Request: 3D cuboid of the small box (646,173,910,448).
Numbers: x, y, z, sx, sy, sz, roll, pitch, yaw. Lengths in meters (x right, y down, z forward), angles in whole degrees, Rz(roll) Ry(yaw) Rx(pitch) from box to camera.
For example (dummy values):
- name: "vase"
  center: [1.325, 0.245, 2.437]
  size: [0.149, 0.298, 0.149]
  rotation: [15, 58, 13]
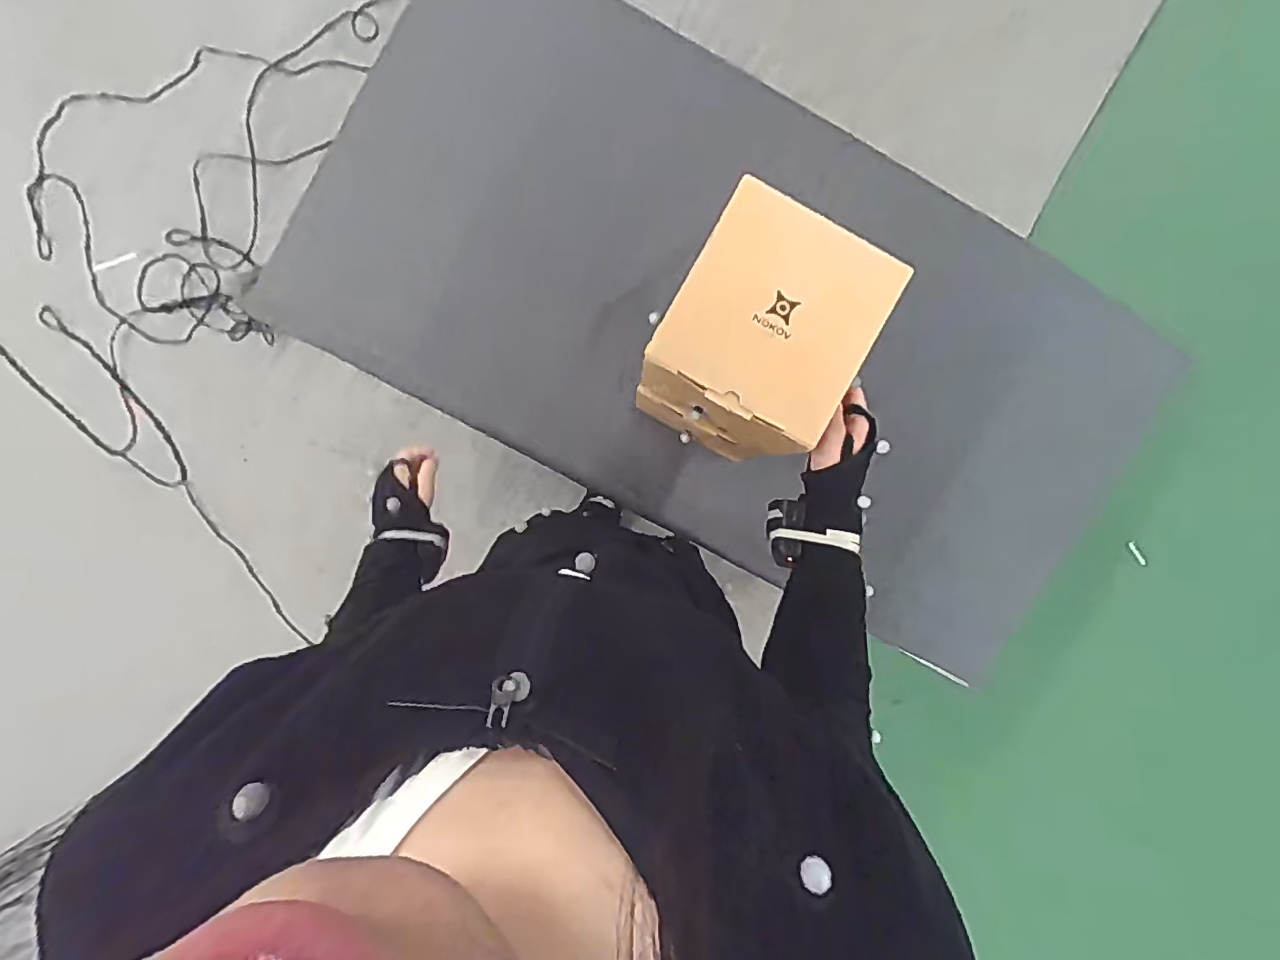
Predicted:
- name: "small box"
  center: [0.114, -0.145, 0.531]
  size: [0.168, 0.176, 0.179]
  rotation: [29, 91, -3]

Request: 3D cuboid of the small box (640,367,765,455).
- name: "small box"
  center: [0.106, -0.145, 0.693]
  size: [0.168, 0.176, 0.179]
  rotation: [29, 91, -2]
